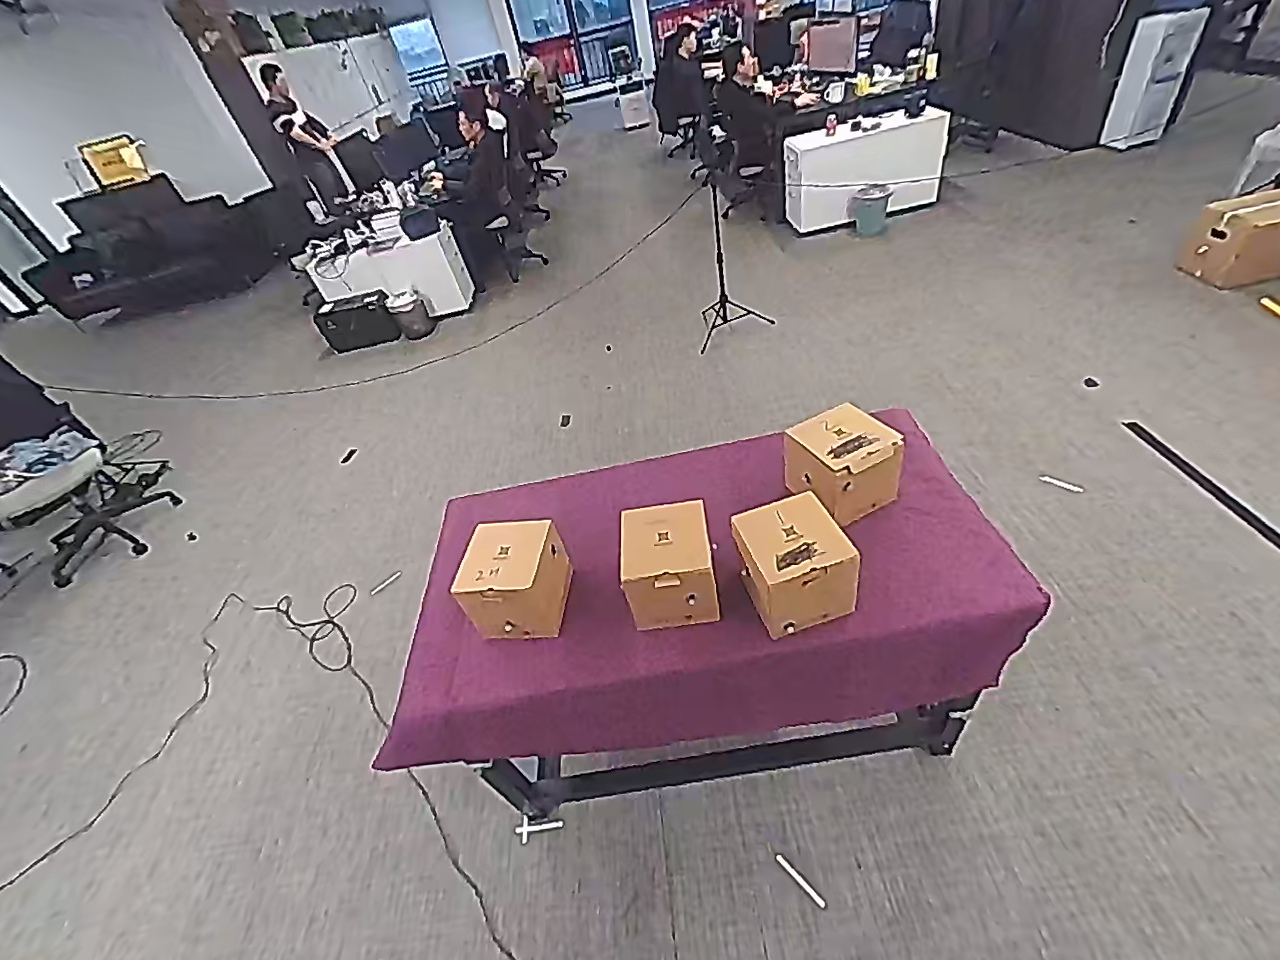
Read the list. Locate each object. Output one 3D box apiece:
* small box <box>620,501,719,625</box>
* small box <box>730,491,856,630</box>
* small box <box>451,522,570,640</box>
[{"bbox_3d":[0.058,0.169,1.064,0.168,0.176,0.179,-9,42,7],"label":"small box"},{"bbox_3d":[0.282,0.156,1.009,0.168,0.176,0.179,-18,40,-3],"label":"small box"},{"bbox_3d":[-0.253,0.208,1.111,0.168,0.176,0.179,-5,43,12],"label":"small box"}]
